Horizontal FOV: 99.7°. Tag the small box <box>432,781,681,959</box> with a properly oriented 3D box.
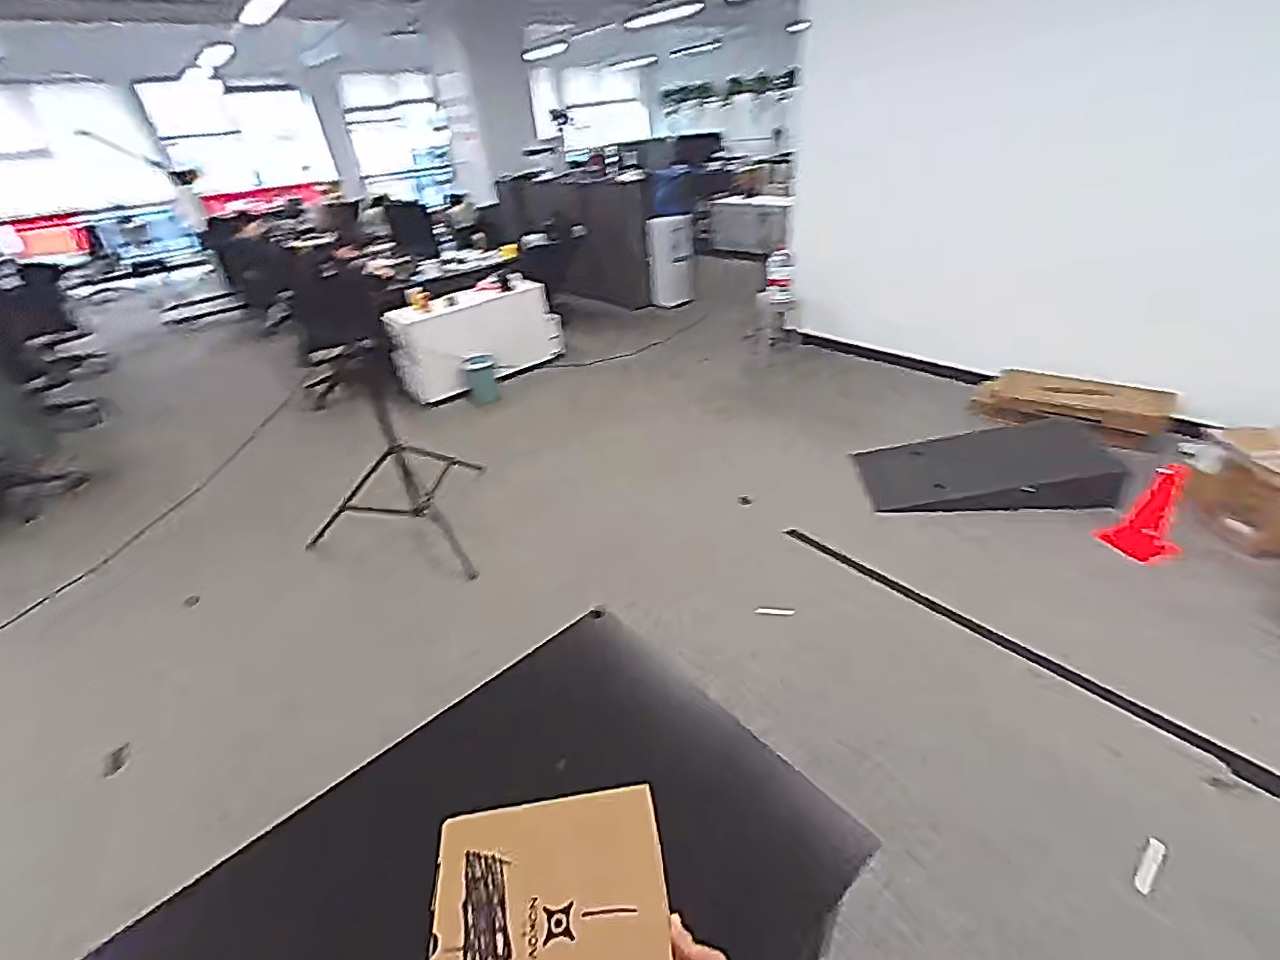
[{"bbox_3d":[-0.058,0.383,0.450,0.179,0.176,0.168,-8,40,-2],"label":"small box"}]
